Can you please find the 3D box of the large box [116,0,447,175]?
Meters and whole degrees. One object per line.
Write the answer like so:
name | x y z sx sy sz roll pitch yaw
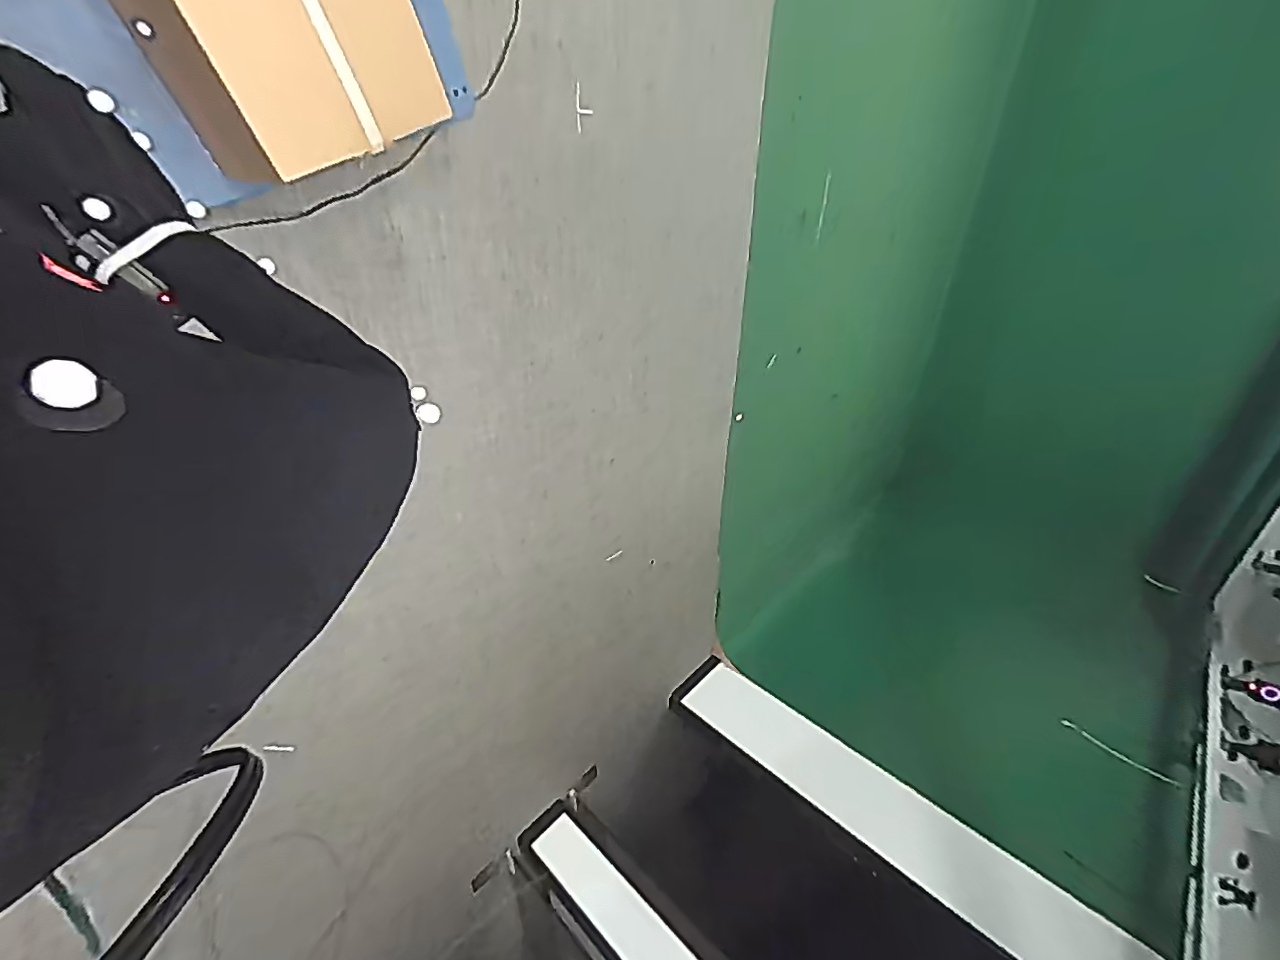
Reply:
large box | -0.578 -0.734 0.818 0.320 0.320 0.408 -43 137 -26
